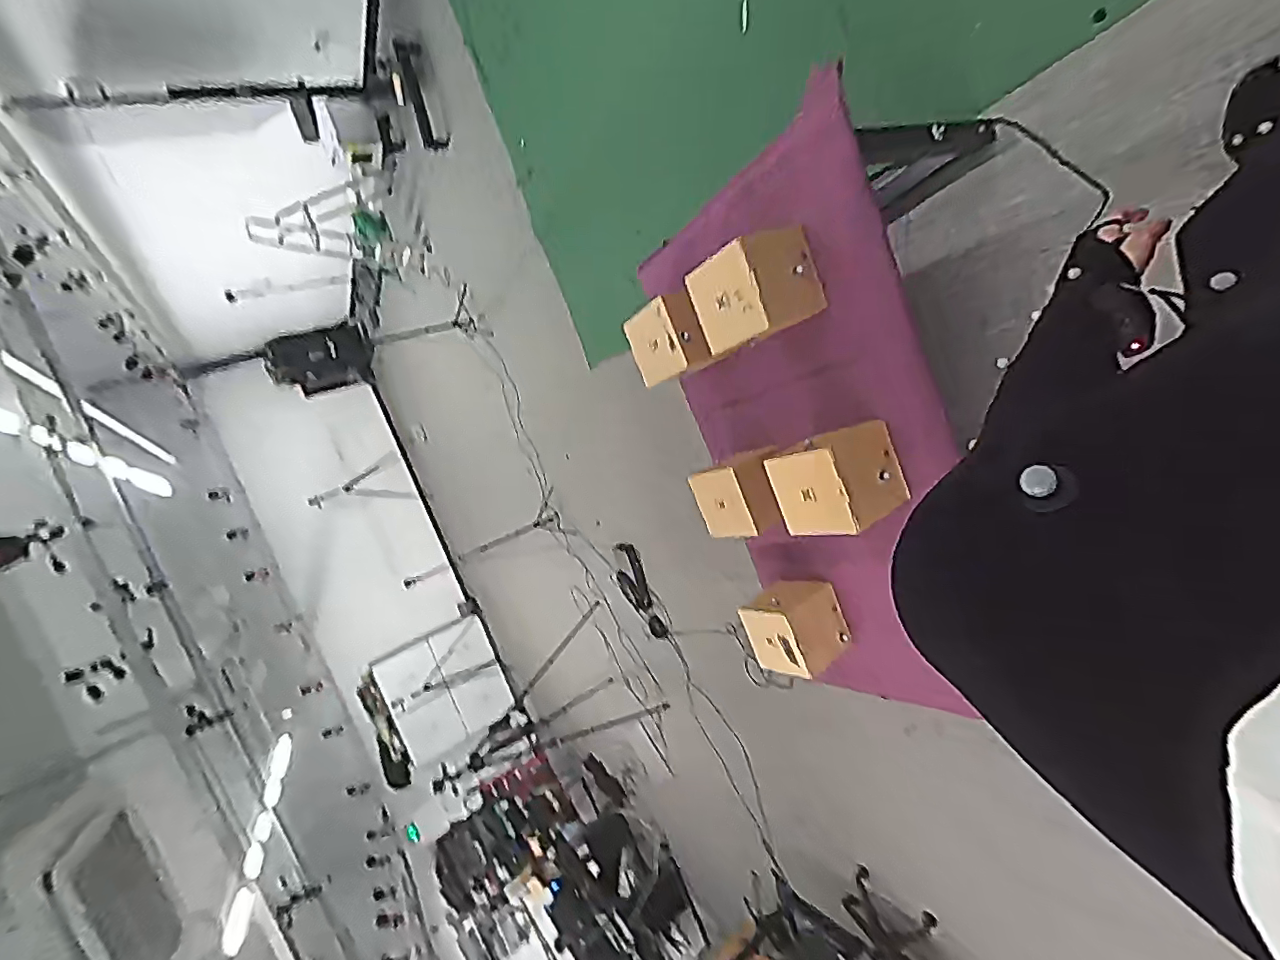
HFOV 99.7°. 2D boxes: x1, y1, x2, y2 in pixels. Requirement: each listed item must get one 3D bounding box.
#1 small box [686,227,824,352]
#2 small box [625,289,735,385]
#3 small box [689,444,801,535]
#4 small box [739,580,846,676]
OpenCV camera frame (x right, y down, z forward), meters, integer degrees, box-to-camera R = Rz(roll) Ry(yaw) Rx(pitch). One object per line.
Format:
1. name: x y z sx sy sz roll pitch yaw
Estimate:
1. small box: 0.226 -0.372 1.066 0.179 0.176 0.168 -10 103 61
2. small box: 0.098 -0.345 1.294 0.179 0.176 0.168 -15 99 59
3. small box: 0.255 0.025 1.315 0.179 0.176 0.168 -13 100 59
4. small box: 0.385 0.358 1.343 0.179 0.176 0.168 -16 97 60
